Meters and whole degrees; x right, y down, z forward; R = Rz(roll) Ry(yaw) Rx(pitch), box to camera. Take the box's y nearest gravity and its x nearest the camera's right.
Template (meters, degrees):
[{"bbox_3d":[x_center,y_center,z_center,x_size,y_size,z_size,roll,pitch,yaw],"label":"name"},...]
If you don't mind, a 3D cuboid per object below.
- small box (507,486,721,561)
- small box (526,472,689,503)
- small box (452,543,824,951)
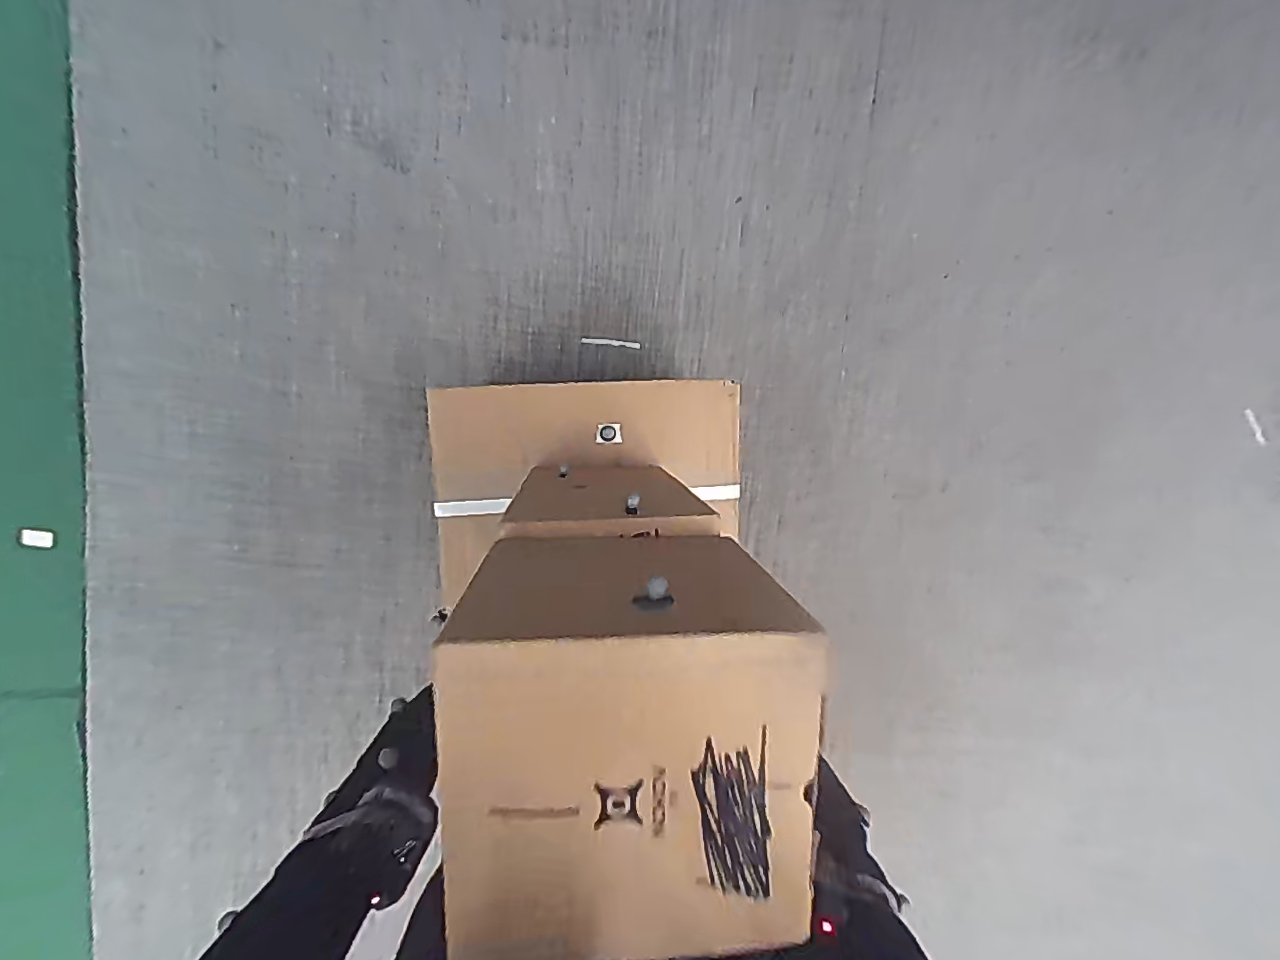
[{"bbox_3d":[-0.026,0.106,0.500,0.168,0.176,0.179,-1,98,-6],"label":"small box"},{"bbox_3d":[-0.043,0.082,0.662,0.179,0.176,0.168,-1,98,-7],"label":"small box"},{"bbox_3d":[-0.007,0.138,0.339,0.179,0.176,0.168,0,98,-5],"label":"small box"}]
